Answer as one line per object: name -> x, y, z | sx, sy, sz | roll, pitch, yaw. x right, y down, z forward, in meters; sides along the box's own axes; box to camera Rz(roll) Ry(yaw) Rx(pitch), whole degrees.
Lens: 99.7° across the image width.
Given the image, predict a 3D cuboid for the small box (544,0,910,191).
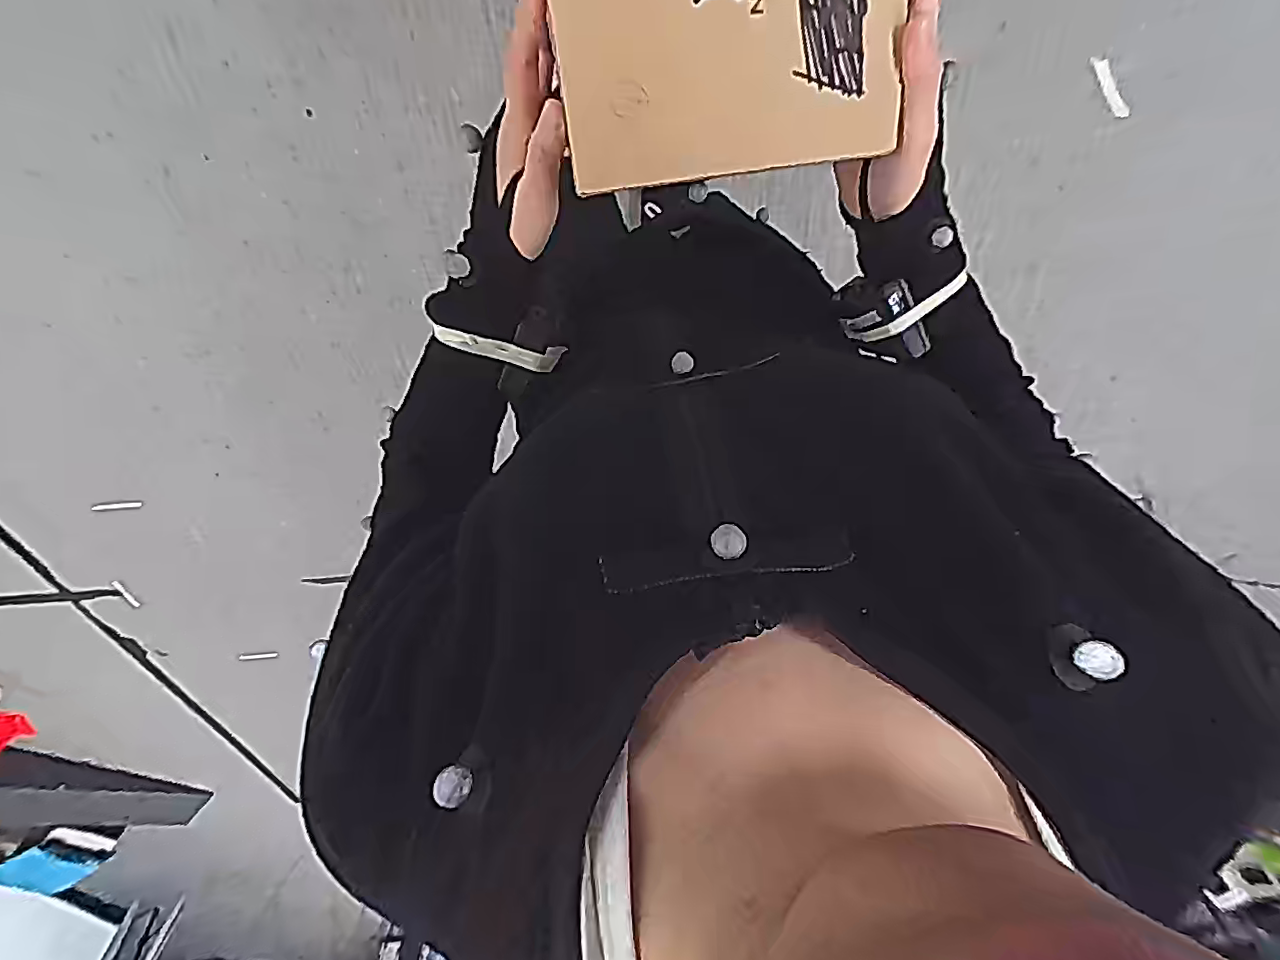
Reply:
small box -> 0.035, -0.274, 0.316 | 0.179, 0.176, 0.168 | -8, 120, -2
